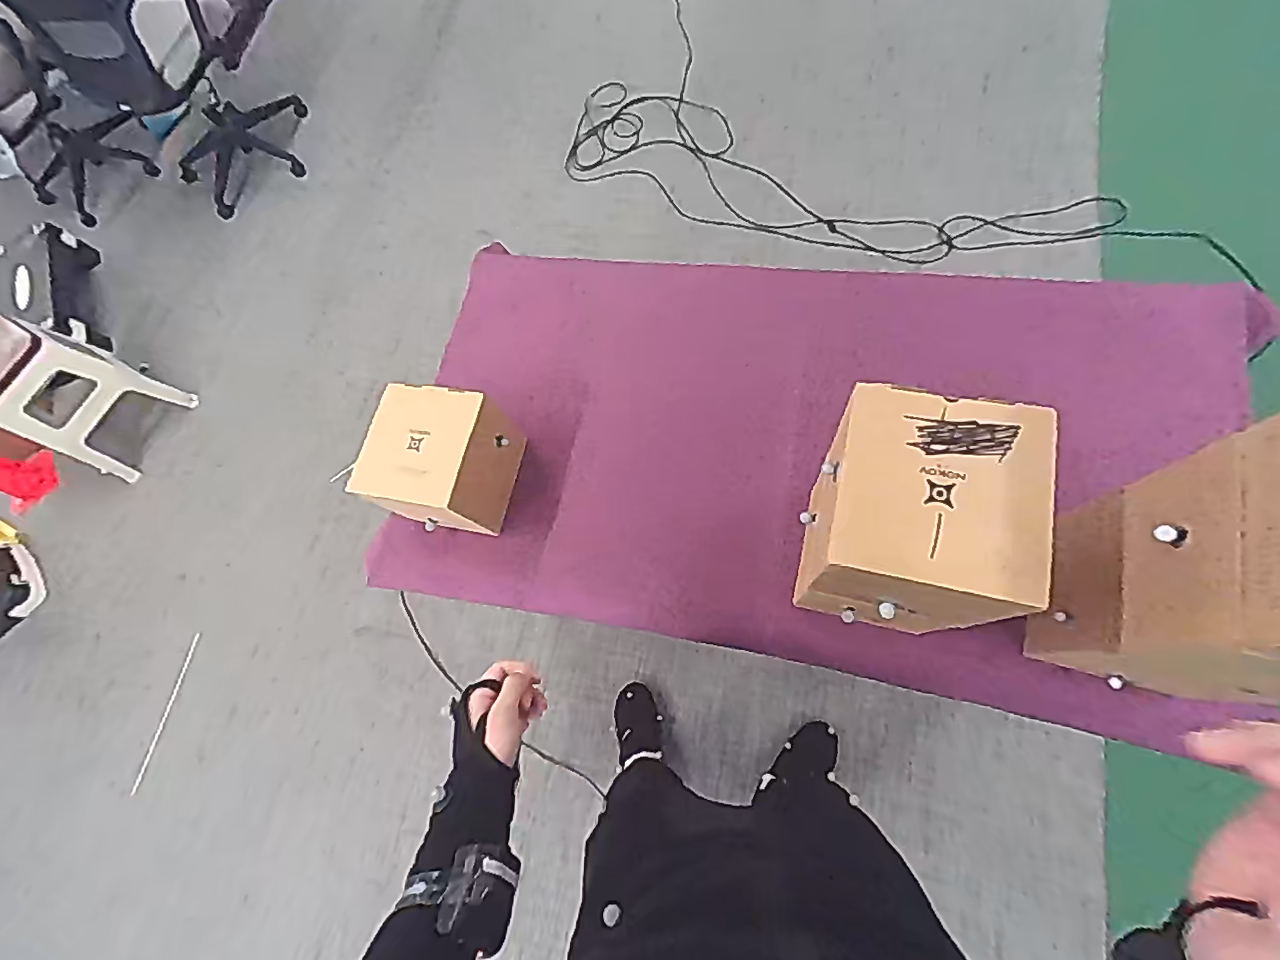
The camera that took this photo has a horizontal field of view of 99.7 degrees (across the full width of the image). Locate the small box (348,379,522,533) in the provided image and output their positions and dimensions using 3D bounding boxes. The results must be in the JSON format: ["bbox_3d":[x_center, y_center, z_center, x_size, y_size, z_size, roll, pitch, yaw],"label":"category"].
[{"bbox_3d":[-0.301,-0.031,0.837,0.168,0.176,0.179,9,73,14],"label":"small box"}]

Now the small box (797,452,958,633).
[{"bbox_3d":[0.296,0.086,0.682,0.168,0.176,0.179,10,72,15],"label":"small box"}]

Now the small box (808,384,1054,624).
[{"bbox_3d":[0.267,0.032,0.530,0.168,0.176,0.179,11,74,15],"label":"small box"}]

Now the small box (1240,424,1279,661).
[{"bbox_3d":[0.503,0.033,0.302,0.168,0.176,0.179,14,75,16],"label":"small box"}]
